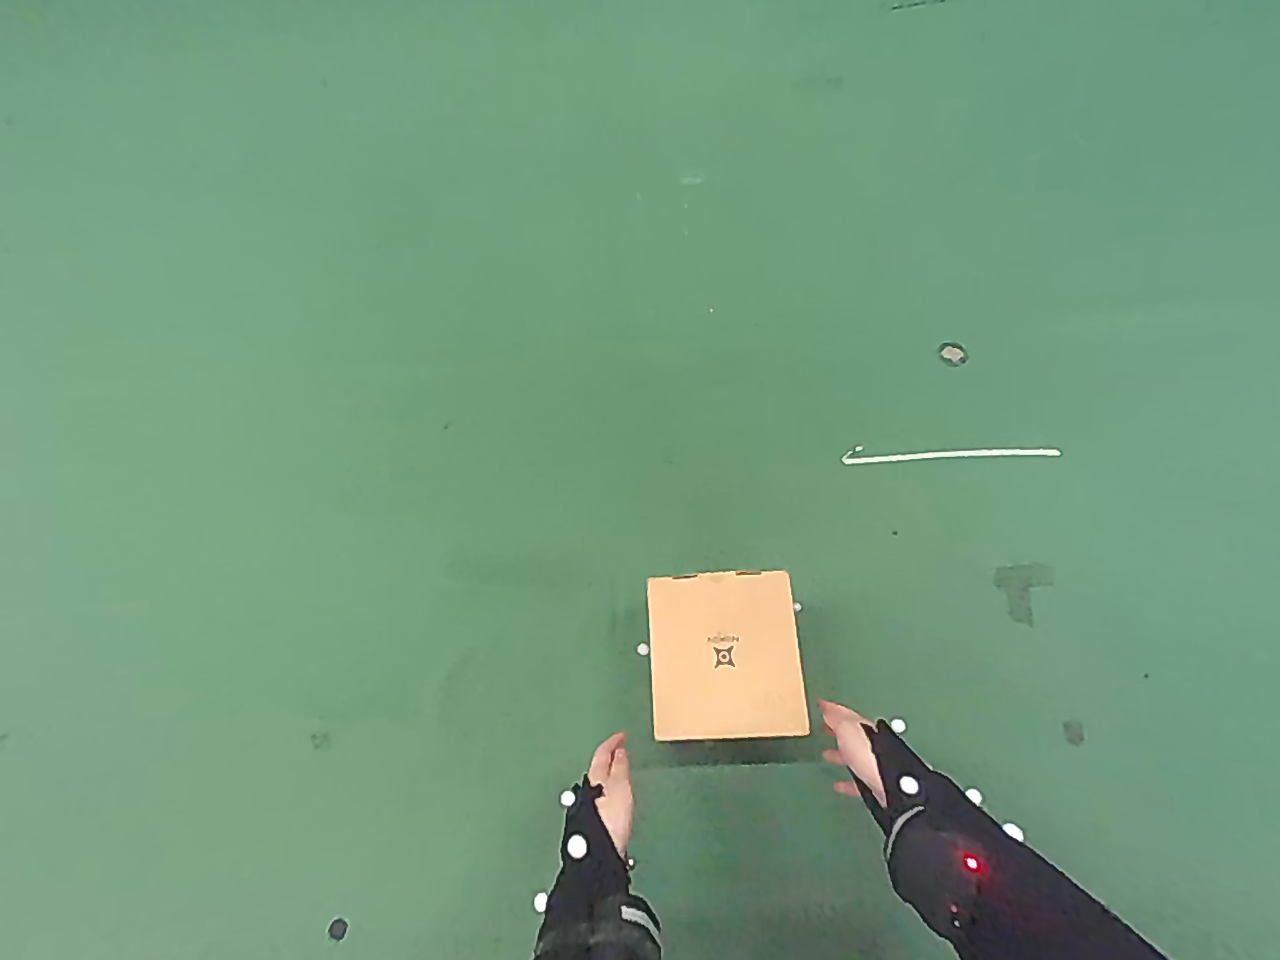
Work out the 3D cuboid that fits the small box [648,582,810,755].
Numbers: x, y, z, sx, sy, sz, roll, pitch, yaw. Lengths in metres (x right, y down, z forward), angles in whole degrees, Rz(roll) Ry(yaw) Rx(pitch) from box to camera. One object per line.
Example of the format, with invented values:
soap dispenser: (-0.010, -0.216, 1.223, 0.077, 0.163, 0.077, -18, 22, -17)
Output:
small box: (0.101, 0.229, 0.663, 0.168, 0.176, 0.179, -4, 69, 4)
